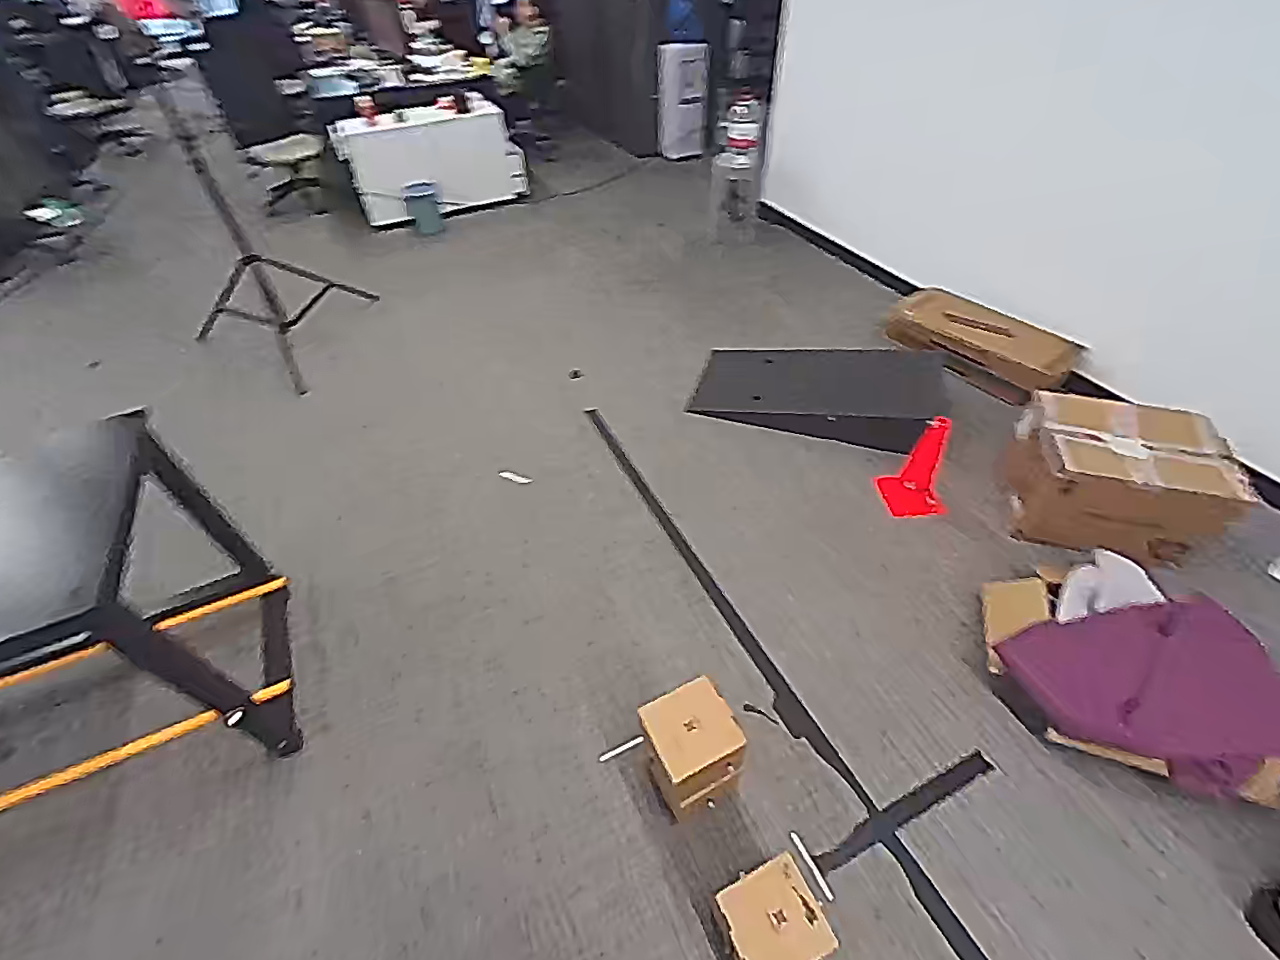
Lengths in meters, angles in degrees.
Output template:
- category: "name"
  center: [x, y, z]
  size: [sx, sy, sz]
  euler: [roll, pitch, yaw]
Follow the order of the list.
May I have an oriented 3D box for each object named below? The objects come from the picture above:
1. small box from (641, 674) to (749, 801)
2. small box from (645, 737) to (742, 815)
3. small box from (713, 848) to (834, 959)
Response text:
- category: "small box"
  center: [0.115, 0.566, 1.189]
  size: [0.179, 0.176, 0.168]
  euler: [-22, 48, -16]
- category: "small box"
  center: [0.125, 0.678, 1.306]
  size: [0.168, 0.176, 0.179]
  euler: [-21, 49, -17]
- category: "small box"
  center: [0.261, 0.893, 1.101]
  size: [0.179, 0.176, 0.168]
  euler: [-20, 49, -15]
